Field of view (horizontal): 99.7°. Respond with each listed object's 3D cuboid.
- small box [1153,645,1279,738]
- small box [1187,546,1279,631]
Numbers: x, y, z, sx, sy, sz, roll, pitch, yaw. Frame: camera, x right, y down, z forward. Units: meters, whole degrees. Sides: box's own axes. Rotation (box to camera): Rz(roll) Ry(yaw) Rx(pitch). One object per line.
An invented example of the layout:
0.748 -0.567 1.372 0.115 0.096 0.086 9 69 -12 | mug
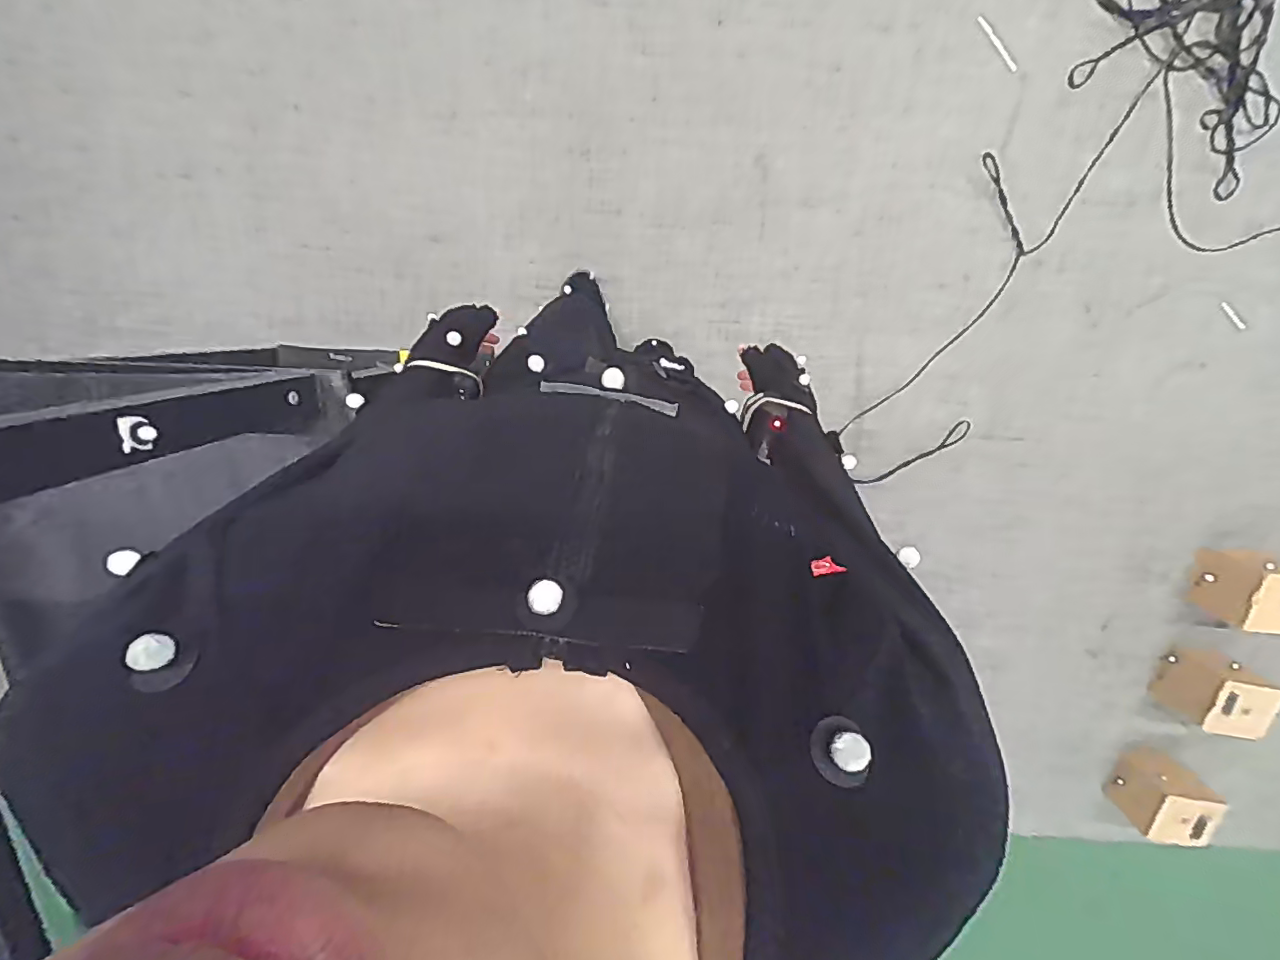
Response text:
1.620 0.586 1.519 0.179 0.176 0.168 10 107 -1 | small box
1.634 0.284 1.430 0.179 0.176 0.168 4 106 2 | small box
